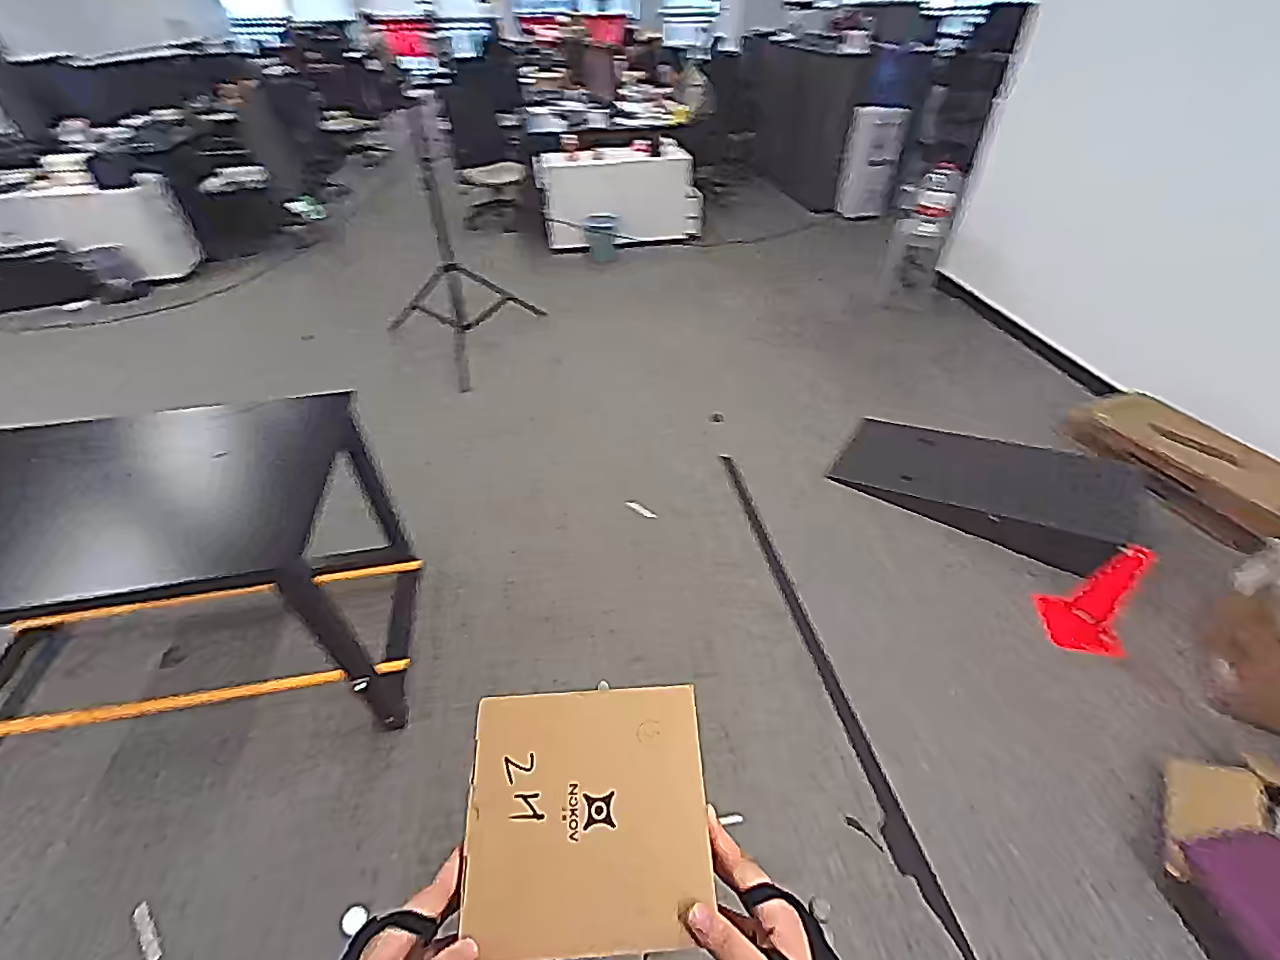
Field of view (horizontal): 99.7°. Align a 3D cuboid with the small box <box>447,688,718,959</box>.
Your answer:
[{"bbox_3d":[-0.042,0.280,0.452,0.179,0.176,0.168,-4,57,-2],"label":"small box"}]
